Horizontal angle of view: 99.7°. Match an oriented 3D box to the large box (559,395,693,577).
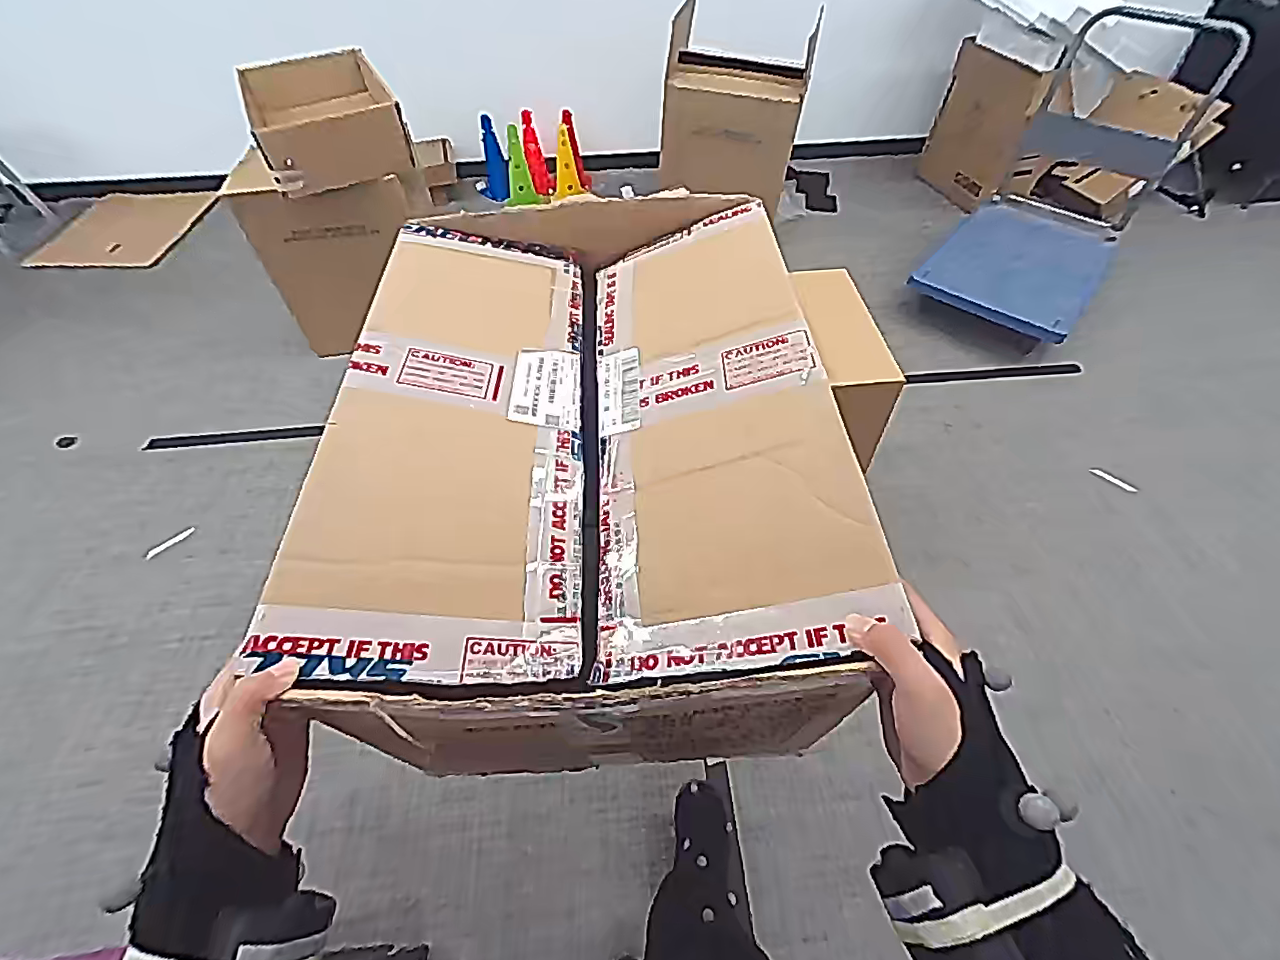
[{"bbox_3d":[-0.050,0.015,1.526,0.320,0.320,0.408,-6,53,-3],"label":"large box"}]
